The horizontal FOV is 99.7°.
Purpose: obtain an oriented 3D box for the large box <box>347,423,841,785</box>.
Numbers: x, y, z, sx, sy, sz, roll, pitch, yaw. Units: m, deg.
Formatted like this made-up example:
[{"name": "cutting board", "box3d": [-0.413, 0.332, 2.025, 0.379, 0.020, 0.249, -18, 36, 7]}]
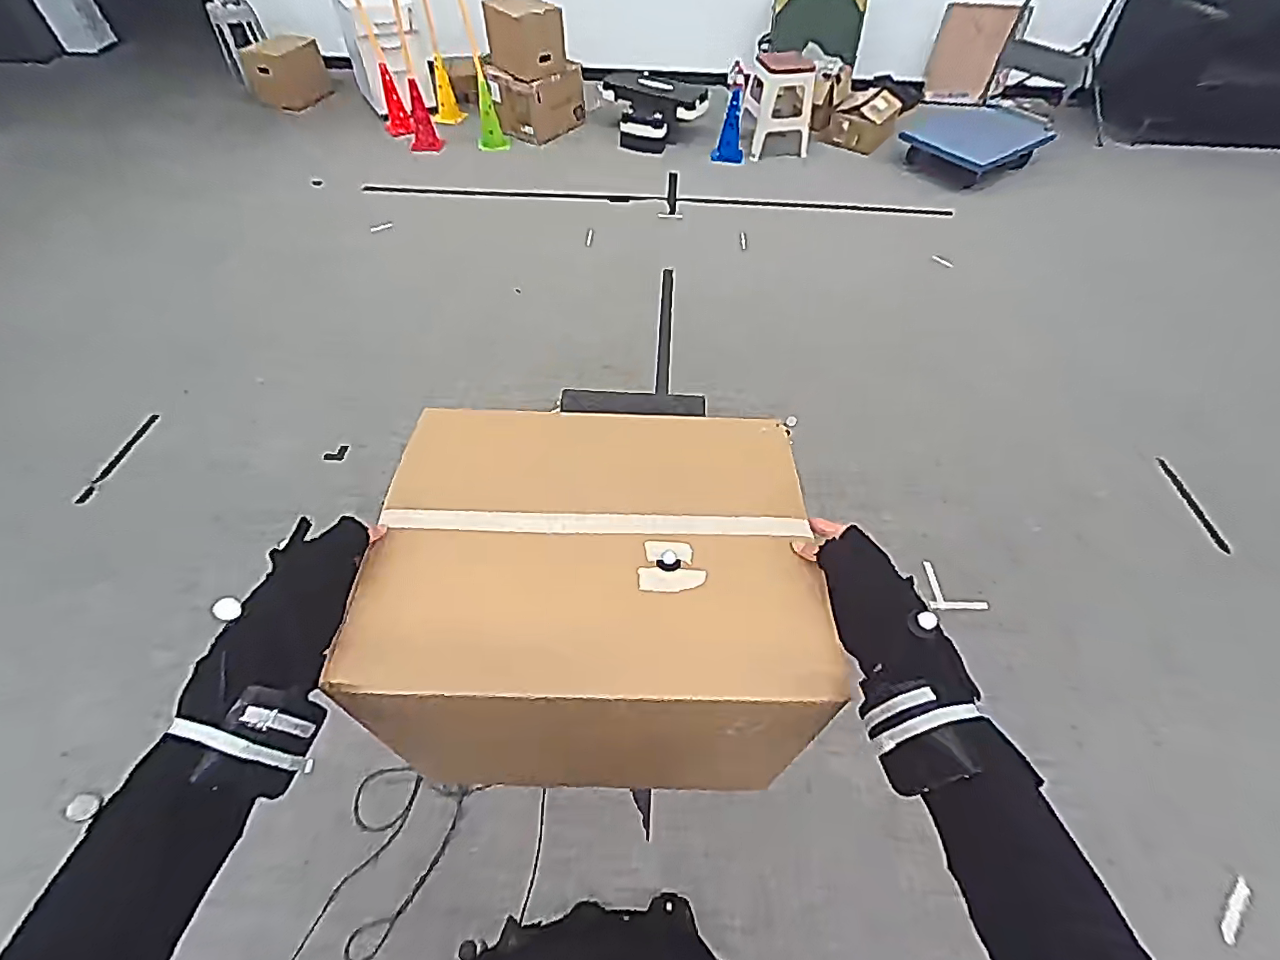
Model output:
[{"name": "large box", "box3d": [-0.042, 0.152, 0.637, 0.408, 0.320, 0.320, 2, 49, -2]}]
